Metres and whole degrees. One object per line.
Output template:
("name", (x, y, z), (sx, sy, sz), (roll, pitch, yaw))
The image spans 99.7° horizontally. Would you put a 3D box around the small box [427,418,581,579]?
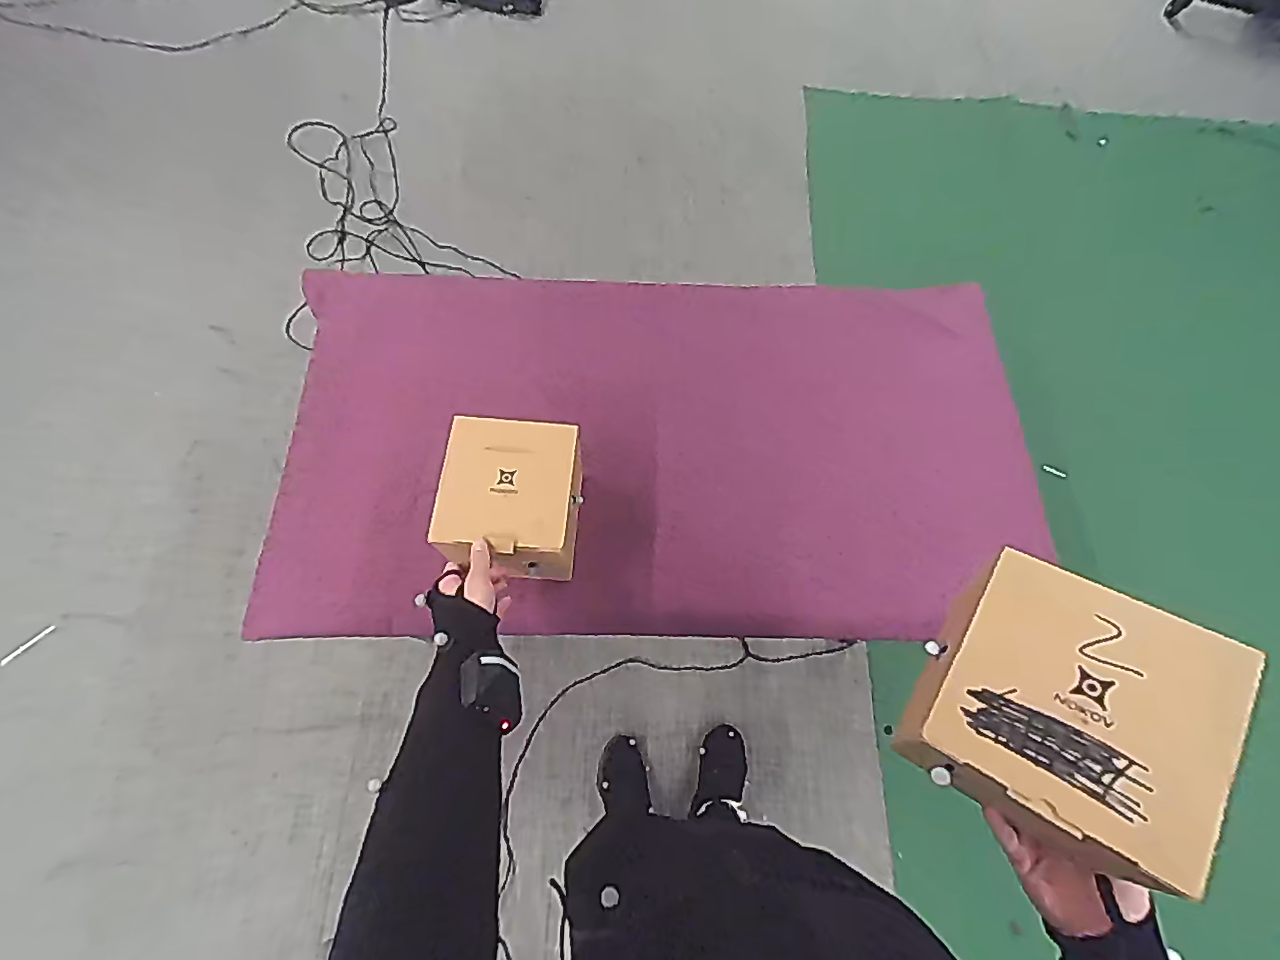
("small box", (-0.175, 0.034, 0.761), (0.168, 0.176, 0.179), (5, 66, -2))
